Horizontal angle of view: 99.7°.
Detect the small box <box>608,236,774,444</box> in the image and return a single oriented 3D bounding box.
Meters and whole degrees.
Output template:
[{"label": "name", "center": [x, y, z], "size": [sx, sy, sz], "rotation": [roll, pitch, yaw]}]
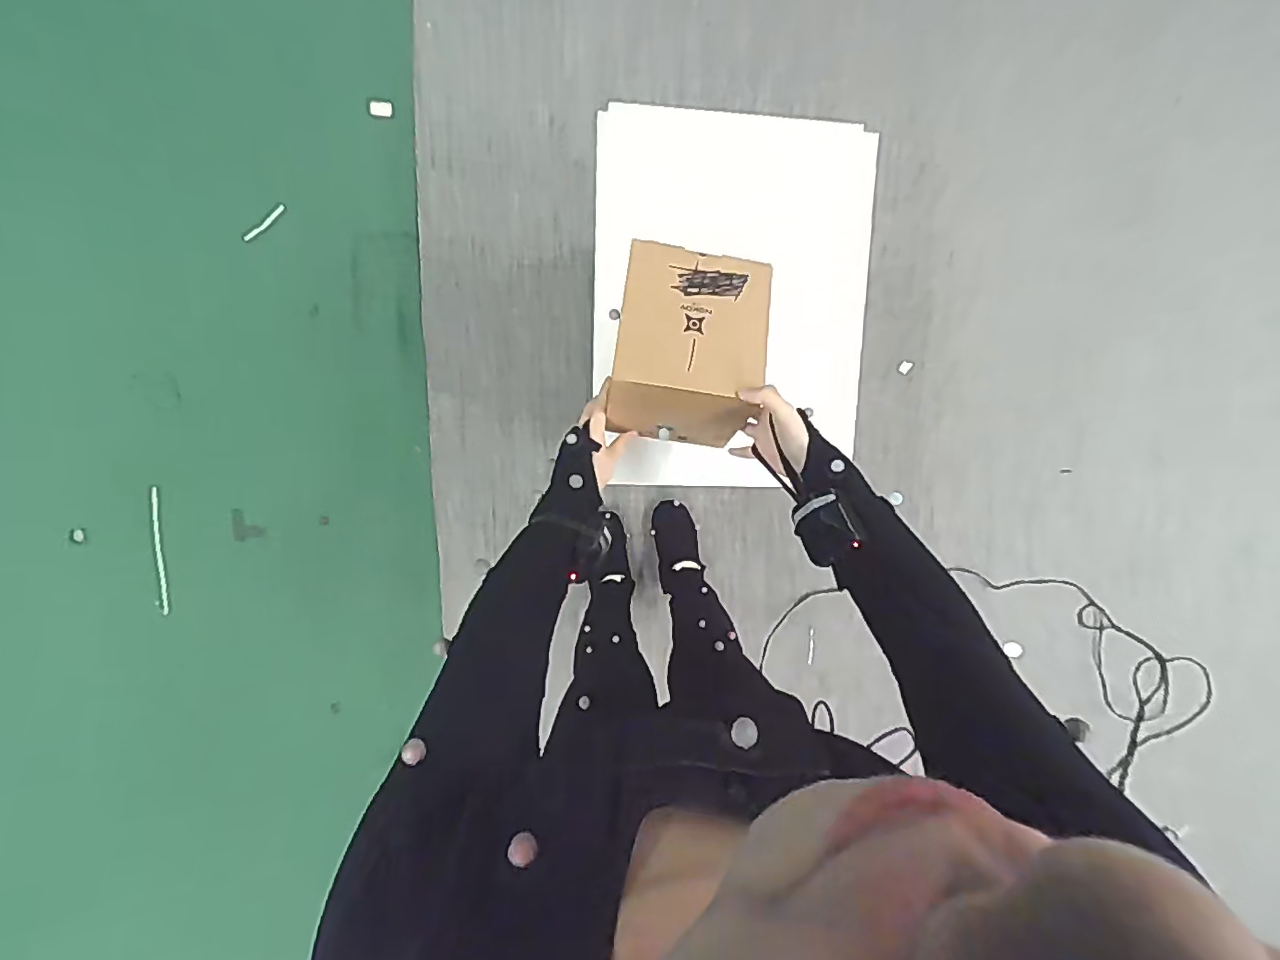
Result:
[{"label": "small box", "center": [0.053, -0.160, 0.666], "size": [0.168, 0.176, 0.179], "rotation": [9, 77, -4]}]
